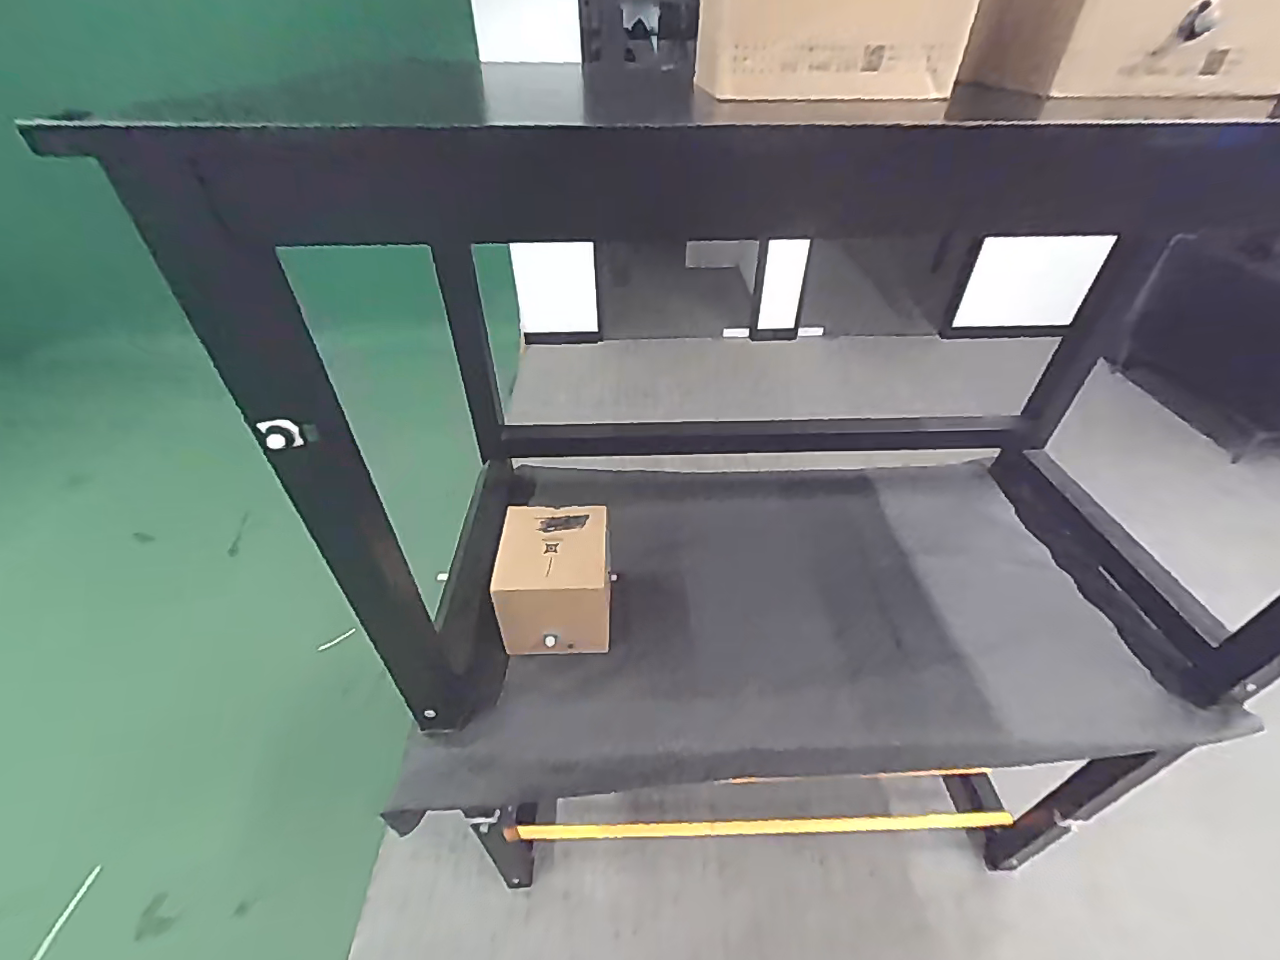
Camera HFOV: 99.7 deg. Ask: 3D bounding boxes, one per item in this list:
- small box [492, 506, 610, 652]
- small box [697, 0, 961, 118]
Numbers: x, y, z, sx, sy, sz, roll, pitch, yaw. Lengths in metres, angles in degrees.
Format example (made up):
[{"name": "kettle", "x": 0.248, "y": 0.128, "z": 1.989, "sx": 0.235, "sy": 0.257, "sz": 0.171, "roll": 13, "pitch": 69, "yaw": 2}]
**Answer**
[{"name": "small box", "x": -0.136, "y": 0.162, "z": 0.892, "sx": 0.168, "sy": 0.176, "sz": 0.179, "roll": -1, "pitch": 40, "yaw": -1}, {"name": "small box", "x": 0.135, "y": -0.381, "z": 0.408, "sx": 0.168, "sy": 0.176, "sz": 0.179, "roll": -1, "pitch": 39, "yaw": -1}]
